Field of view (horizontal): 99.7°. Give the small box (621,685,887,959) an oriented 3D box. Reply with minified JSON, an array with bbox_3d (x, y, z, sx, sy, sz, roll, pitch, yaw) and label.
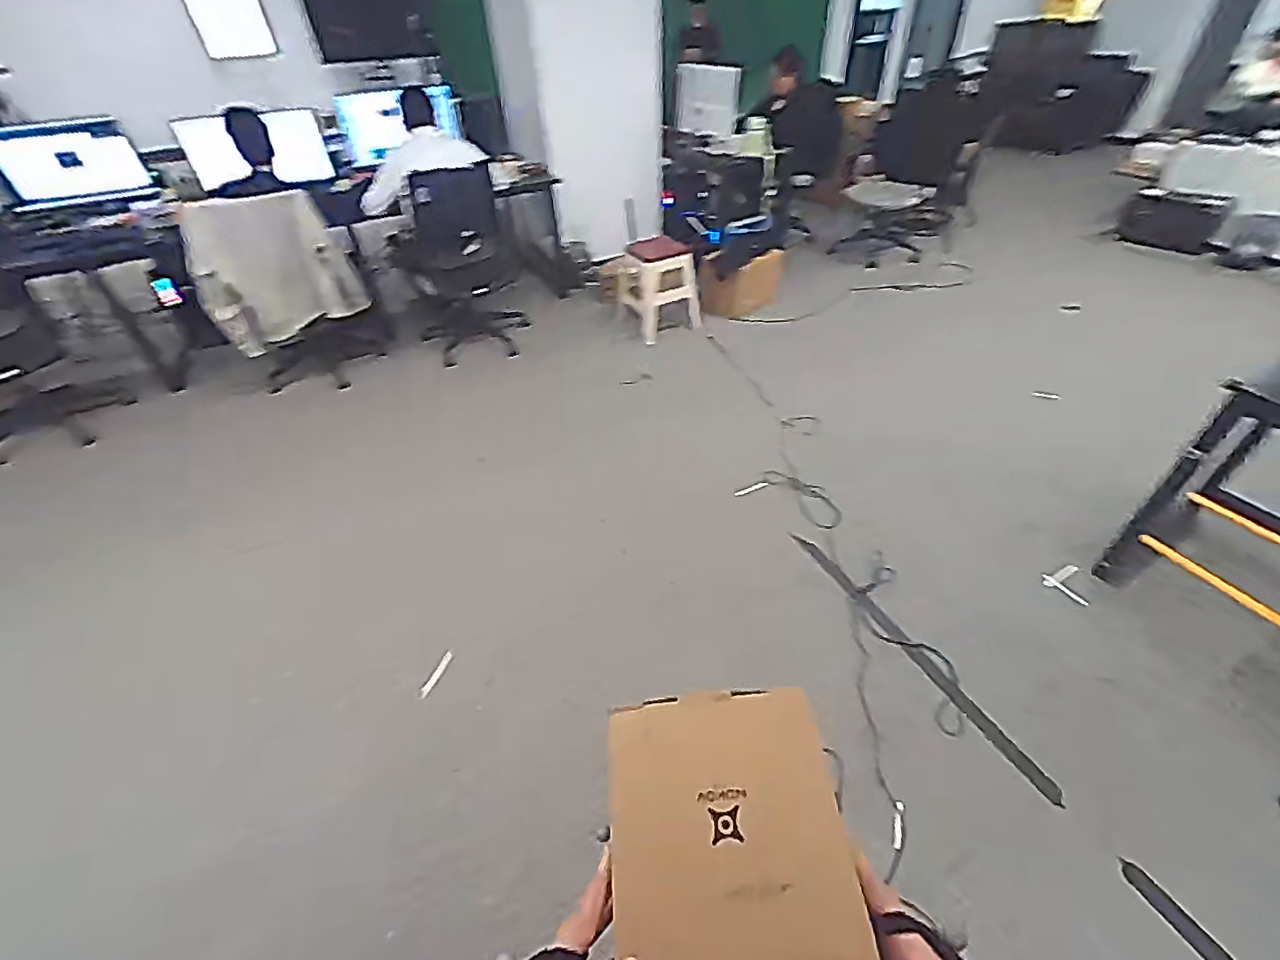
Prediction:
[{"bbox_3d":[0.072,0.292,0.449,0.168,0.176,0.179,-5,49,0],"label":"small box"}]
